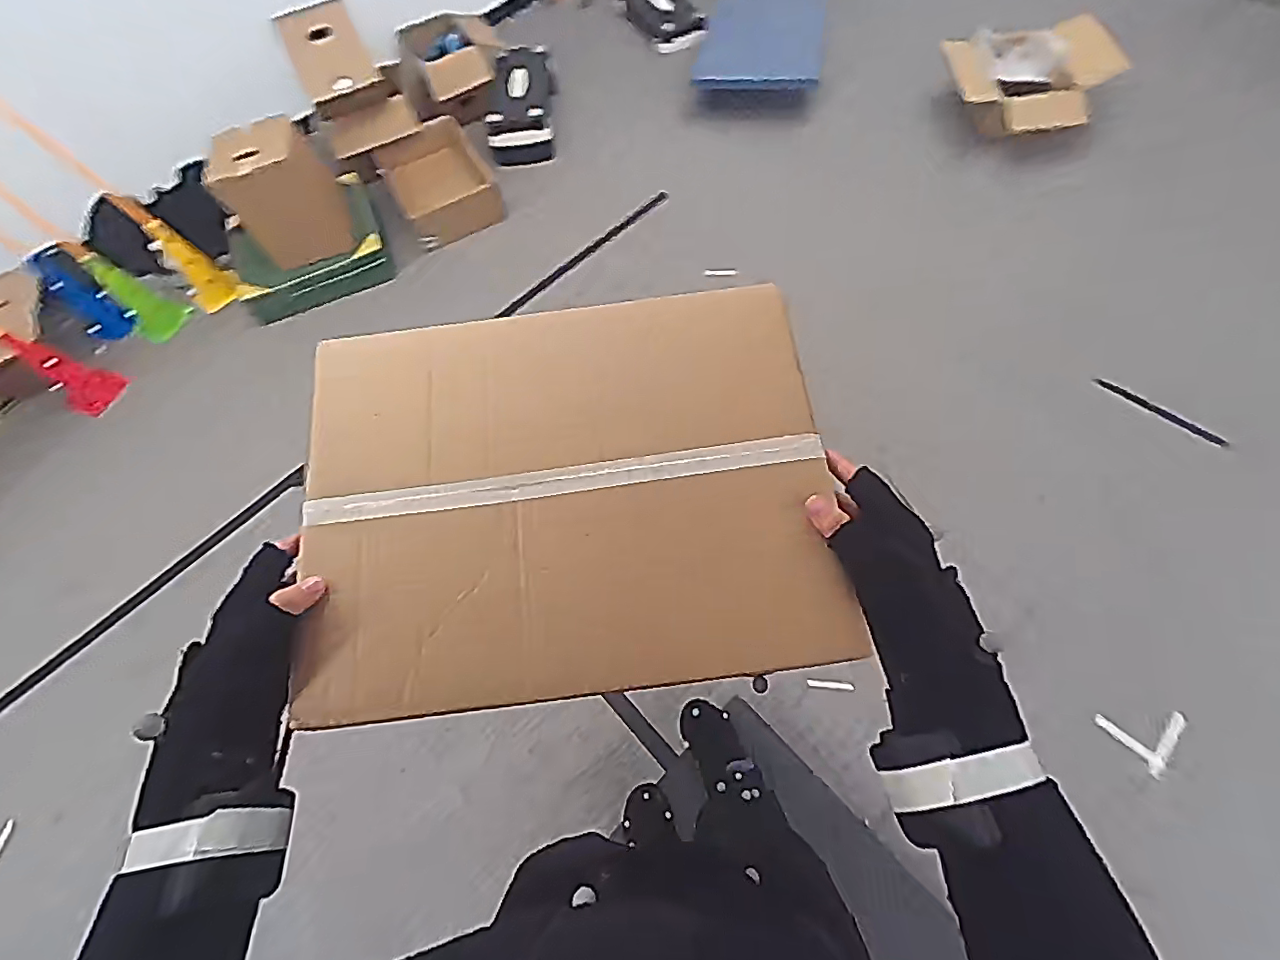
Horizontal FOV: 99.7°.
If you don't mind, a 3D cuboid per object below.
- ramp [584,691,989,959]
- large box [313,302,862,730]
[{"bbox_3d":[0.389,1.006,1.165,0.991,0.206,0.509,40,72,21],"label":"ramp"},{"bbox_3d":[-0.047,0.054,0.571,0.408,0.320,0.320,-6,71,0],"label":"large box"}]
